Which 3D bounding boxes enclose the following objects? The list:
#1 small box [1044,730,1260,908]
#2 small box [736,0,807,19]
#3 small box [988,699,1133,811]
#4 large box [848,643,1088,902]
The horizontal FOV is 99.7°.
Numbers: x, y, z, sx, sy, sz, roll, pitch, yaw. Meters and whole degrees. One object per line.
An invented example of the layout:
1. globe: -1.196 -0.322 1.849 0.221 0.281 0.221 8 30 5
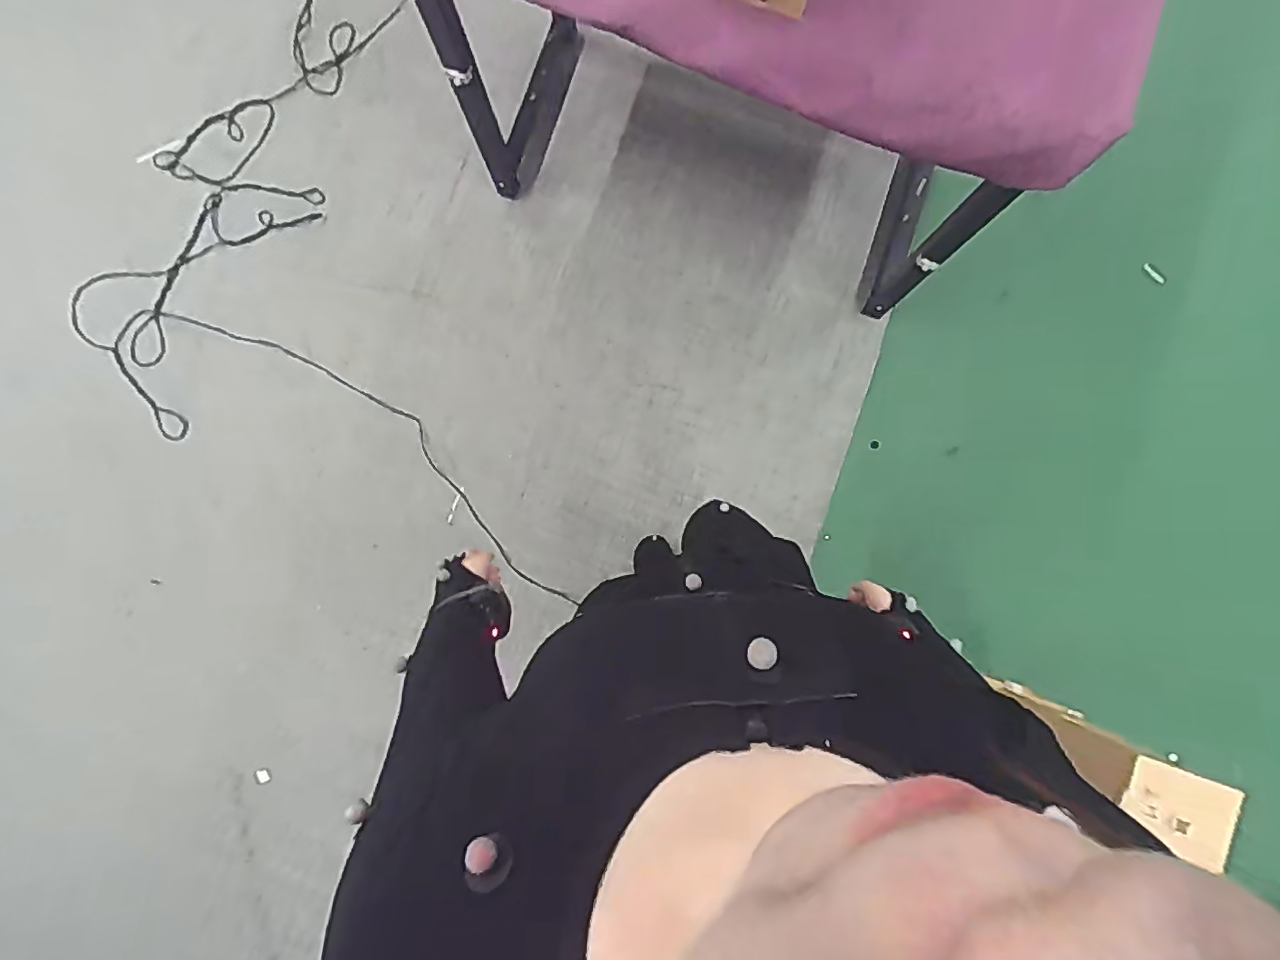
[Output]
1. small box: 0.834 0.545 0.898 0.179 0.176 0.168 20 86 2
2. small box: 0.202 -0.831 0.774 0.168 0.176 0.179 20 86 3
3. small box: 0.838 0.557 1.063 0.179 0.176 0.168 21 86 2
4. large box: 0.755 0.659 1.298 0.320 0.320 0.408 21 86 3
